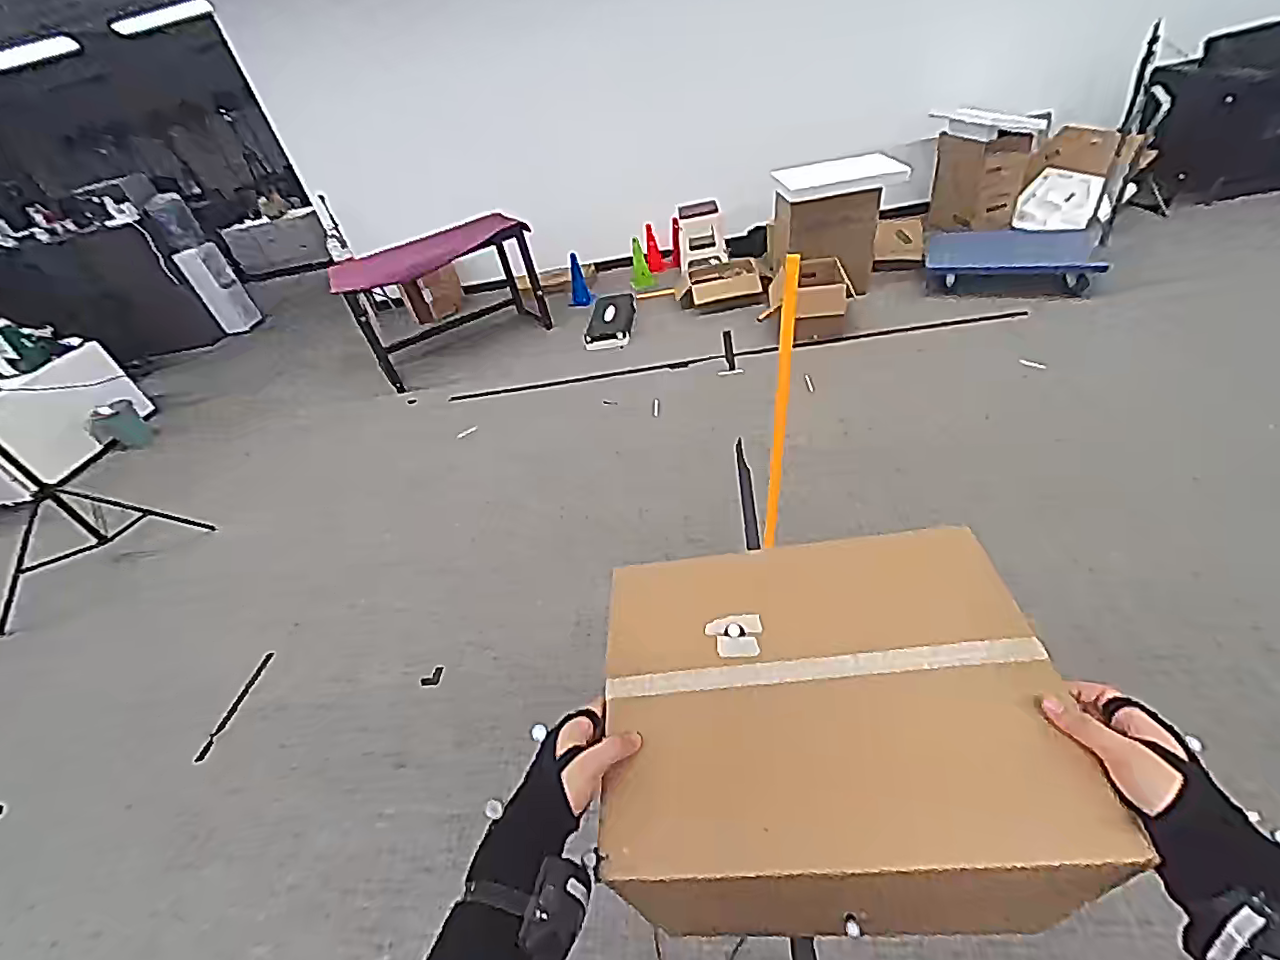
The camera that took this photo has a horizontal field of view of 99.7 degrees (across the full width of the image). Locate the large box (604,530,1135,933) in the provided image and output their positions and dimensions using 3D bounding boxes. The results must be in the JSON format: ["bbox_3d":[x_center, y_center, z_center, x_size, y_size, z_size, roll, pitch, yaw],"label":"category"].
[{"bbox_3d":[0.199,0.297,0.620,0.408,0.320,0.320,-10,41,10],"label":"large box"}]
